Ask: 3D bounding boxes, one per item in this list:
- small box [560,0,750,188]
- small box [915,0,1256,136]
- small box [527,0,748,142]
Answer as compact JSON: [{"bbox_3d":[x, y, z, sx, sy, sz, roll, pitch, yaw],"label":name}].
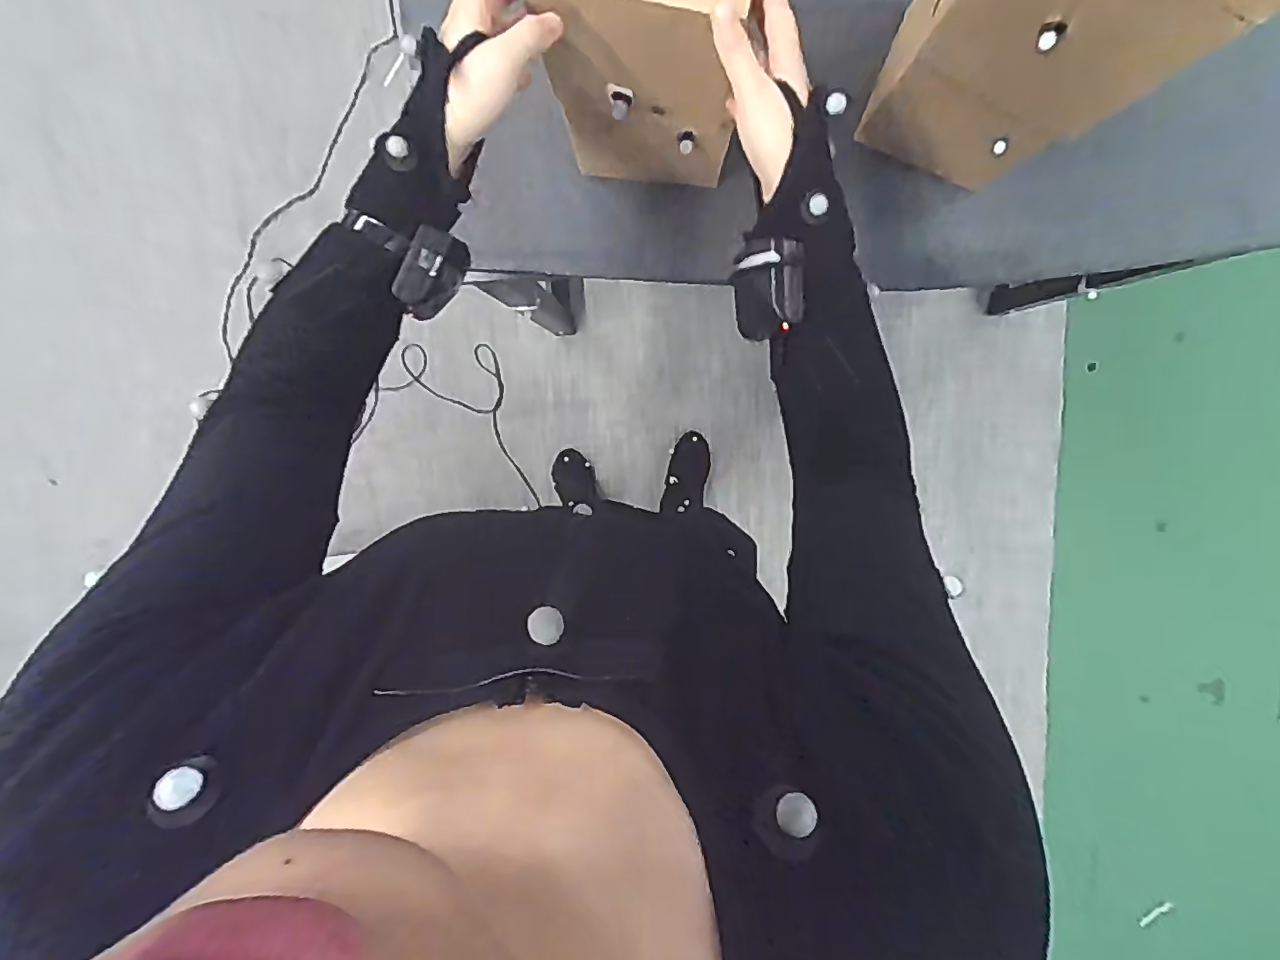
[{"bbox_3d":[0.017,-0.446,0.601,0.179,0.176,0.168,6,98,1],"label":"small box"},{"bbox_3d":[0.366,-0.415,0.427,0.179,0.176,0.168,29,97,-2],"label":"small box"},{"bbox_3d":[0.009,-0.419,0.440,0.168,0.176,0.179,12,99,0],"label":"small box"}]
